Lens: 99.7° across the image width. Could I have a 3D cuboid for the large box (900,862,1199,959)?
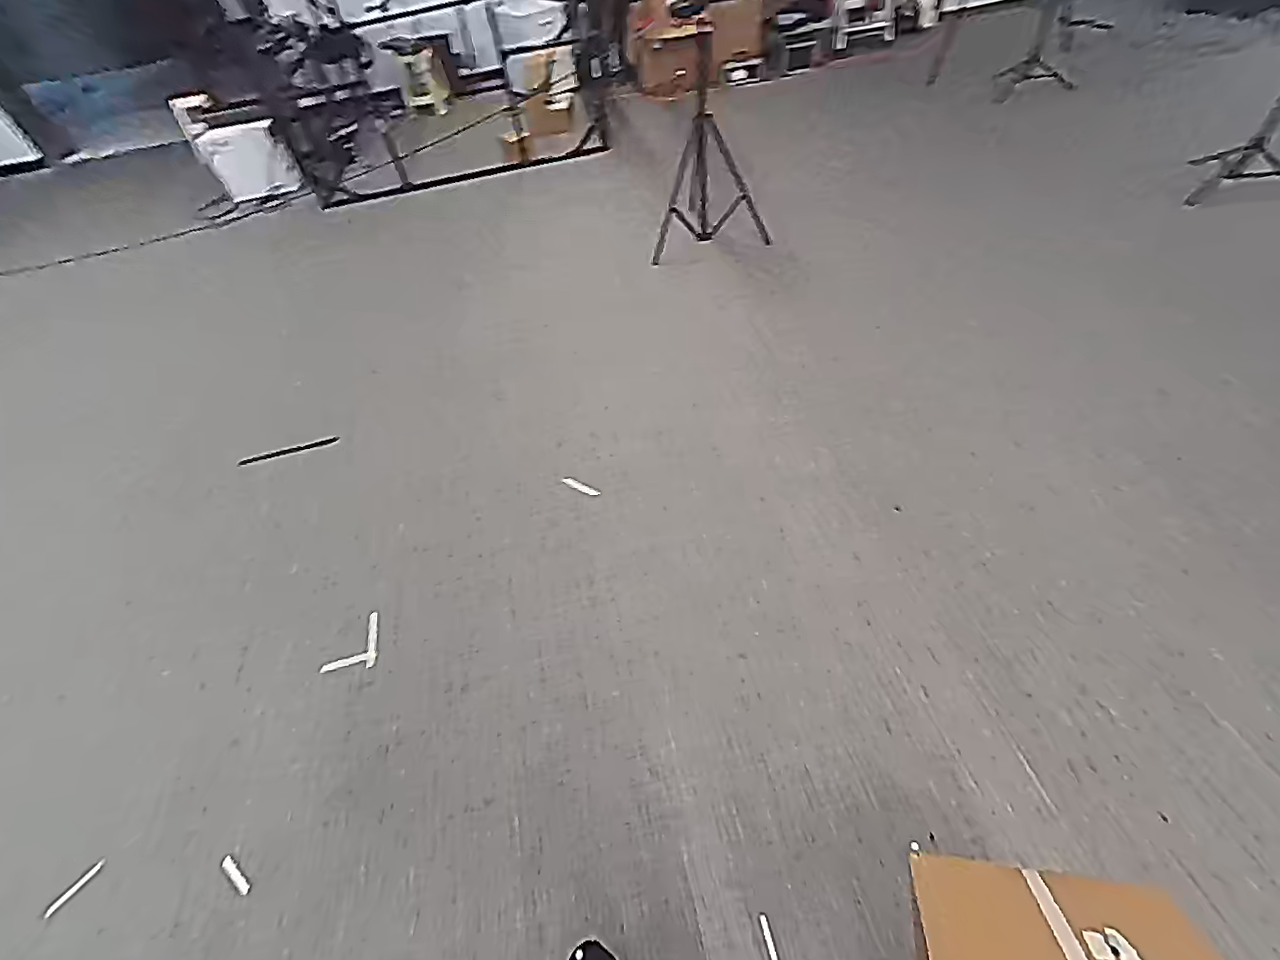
[{"bbox_3d":[0.491,0.715,0.585,0.320,0.408,0.320,-3,86,18],"label":"large box"}]
